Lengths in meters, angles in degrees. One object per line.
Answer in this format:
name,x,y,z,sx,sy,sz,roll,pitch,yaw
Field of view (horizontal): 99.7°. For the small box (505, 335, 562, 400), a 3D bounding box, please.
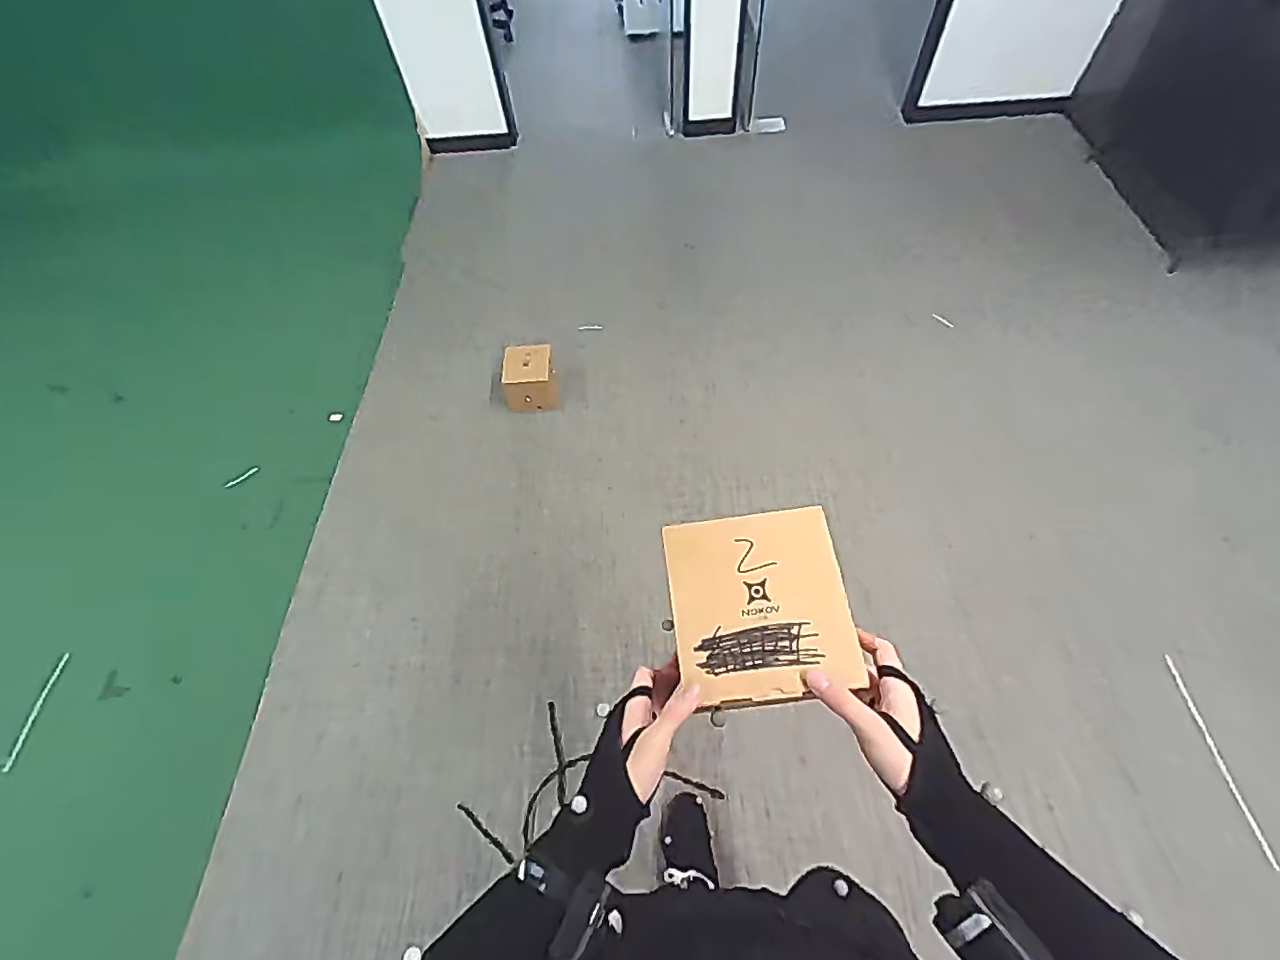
small box,-0.384,-0.405,1.976,0.168,0.176,0.179,-1,59,1
